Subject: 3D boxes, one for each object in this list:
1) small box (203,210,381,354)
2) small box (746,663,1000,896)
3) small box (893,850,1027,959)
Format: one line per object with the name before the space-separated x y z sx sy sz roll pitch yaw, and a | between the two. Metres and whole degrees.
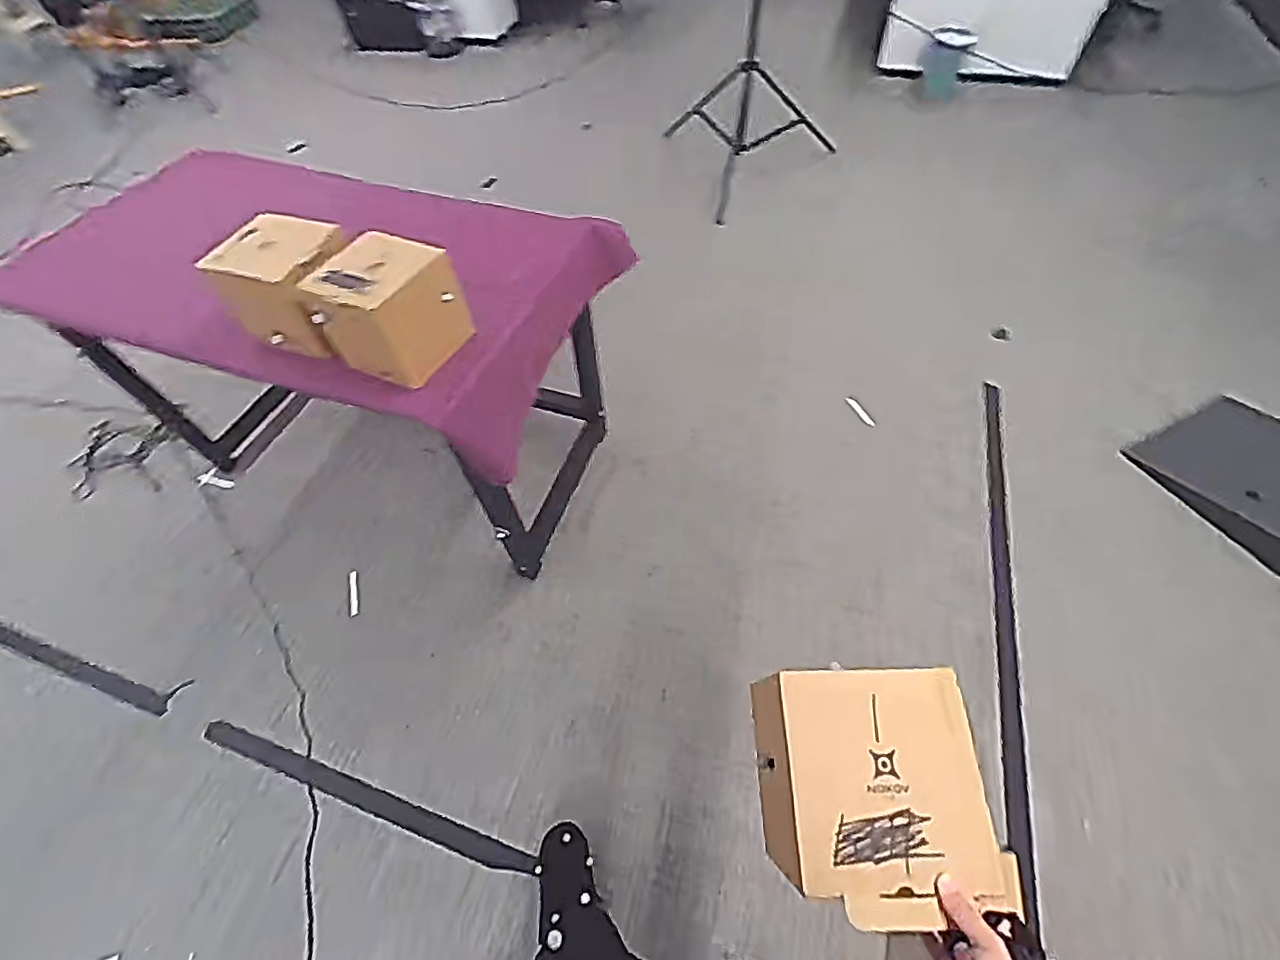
small box | -0.612 -0.354 0.981 0.179 0.176 0.168 16 58 12
small box | 0.207 0.284 0.539 0.168 0.176 0.179 -2 65 0
small box | 0.595 0.795 1.029 0.168 0.176 0.179 10 56 8
